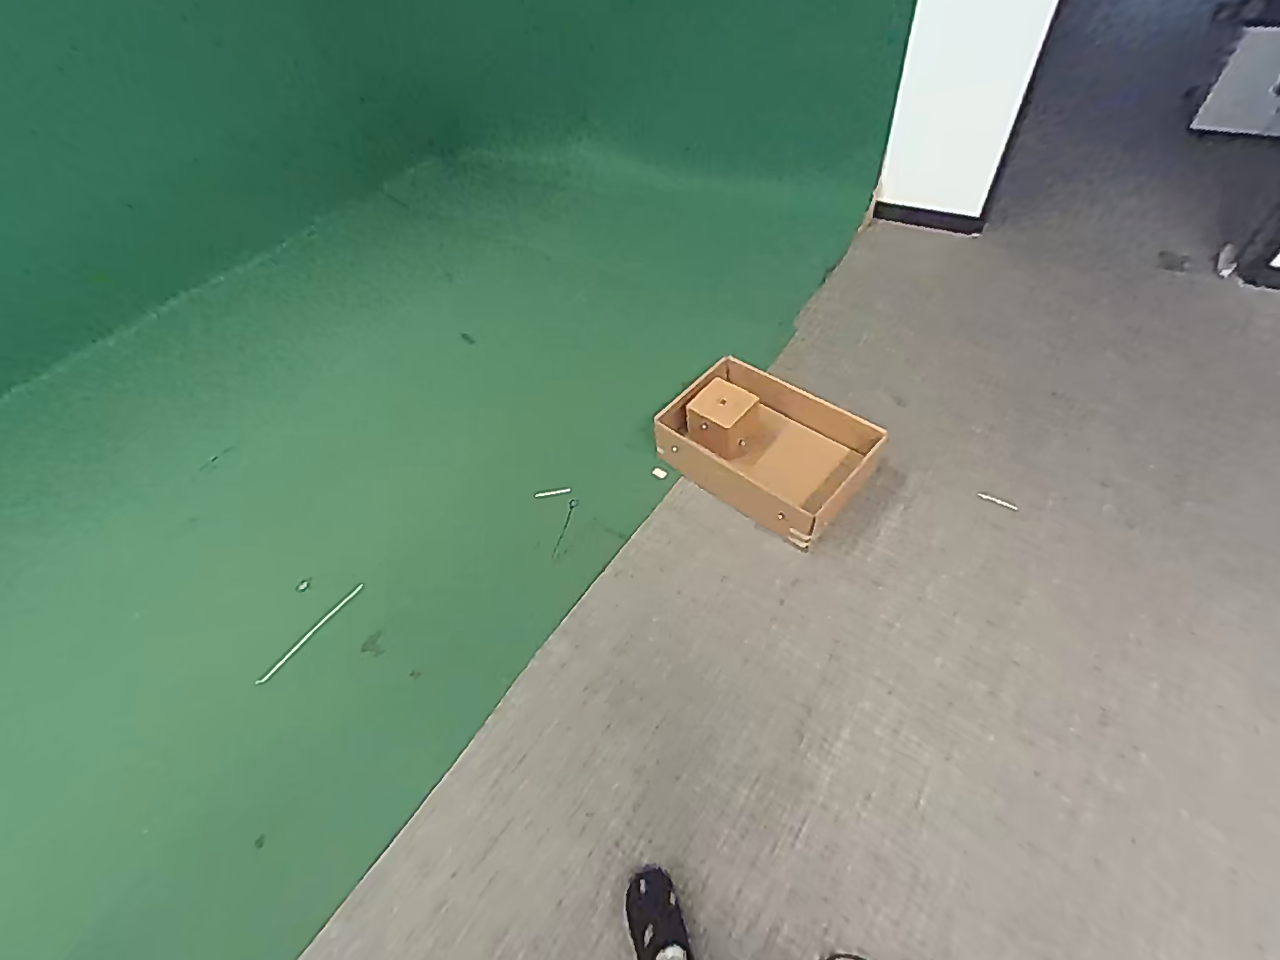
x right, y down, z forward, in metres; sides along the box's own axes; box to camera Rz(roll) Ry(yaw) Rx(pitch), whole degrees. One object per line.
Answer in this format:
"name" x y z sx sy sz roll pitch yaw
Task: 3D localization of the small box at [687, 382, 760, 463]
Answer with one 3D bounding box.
"small box" 0.277 -0.188 1.802 0.179 0.176 0.168 35 66 28
